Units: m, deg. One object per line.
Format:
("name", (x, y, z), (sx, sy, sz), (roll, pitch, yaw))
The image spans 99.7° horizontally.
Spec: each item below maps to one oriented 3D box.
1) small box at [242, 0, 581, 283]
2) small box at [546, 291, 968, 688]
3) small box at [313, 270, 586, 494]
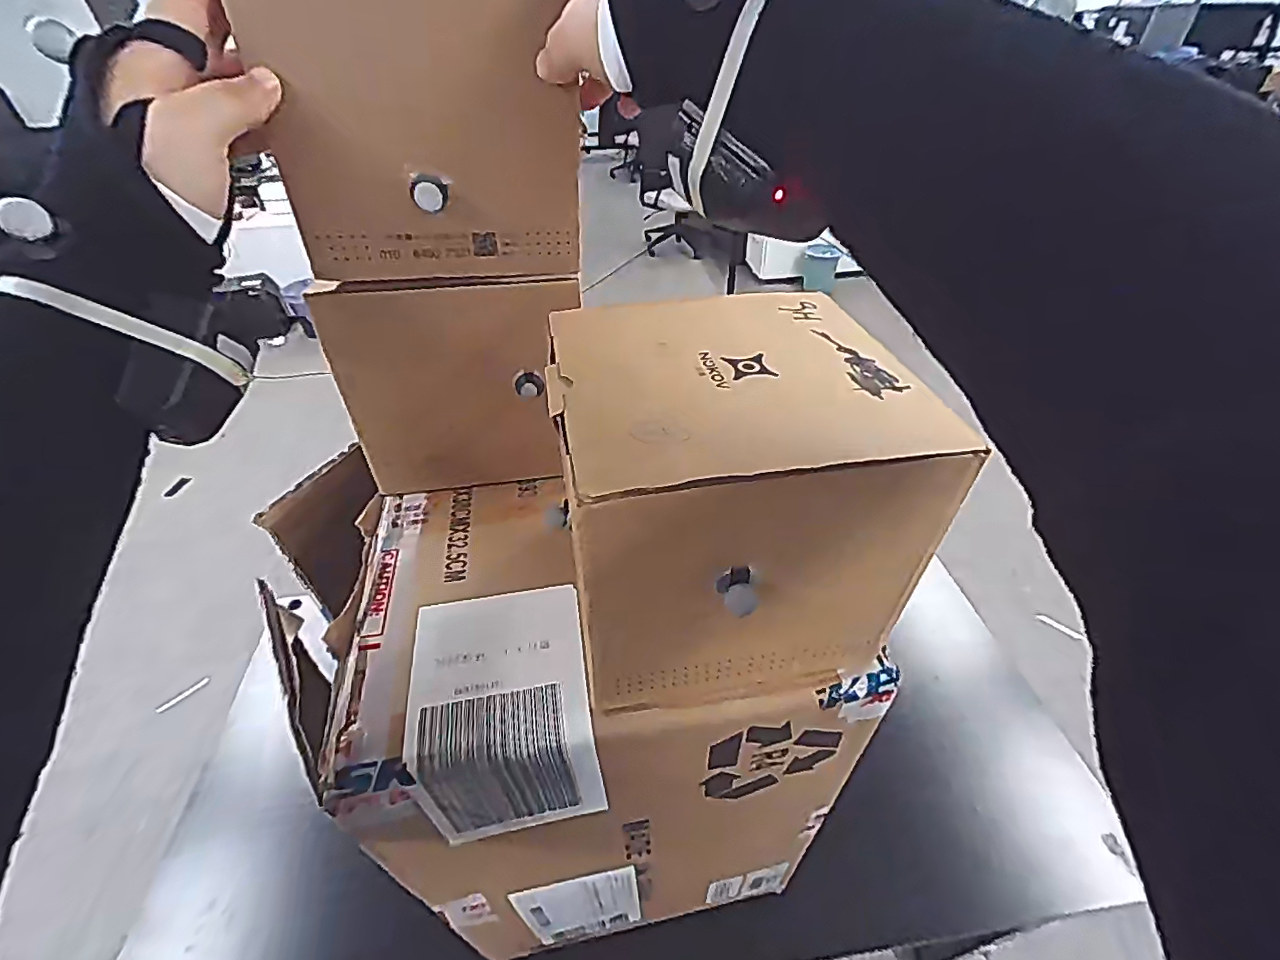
("small box", (-0.132, -0.245, 0.362), (0.168, 0.176, 0.179), (-7, 43, -11))
("small box", (0.045, 0.005, 0.331), (0.179, 0.176, 0.168), (-8, 44, -8))
("small box", (-0.137, -0.108, 0.465), (0.179, 0.176, 0.168), (-8, 39, -8))
